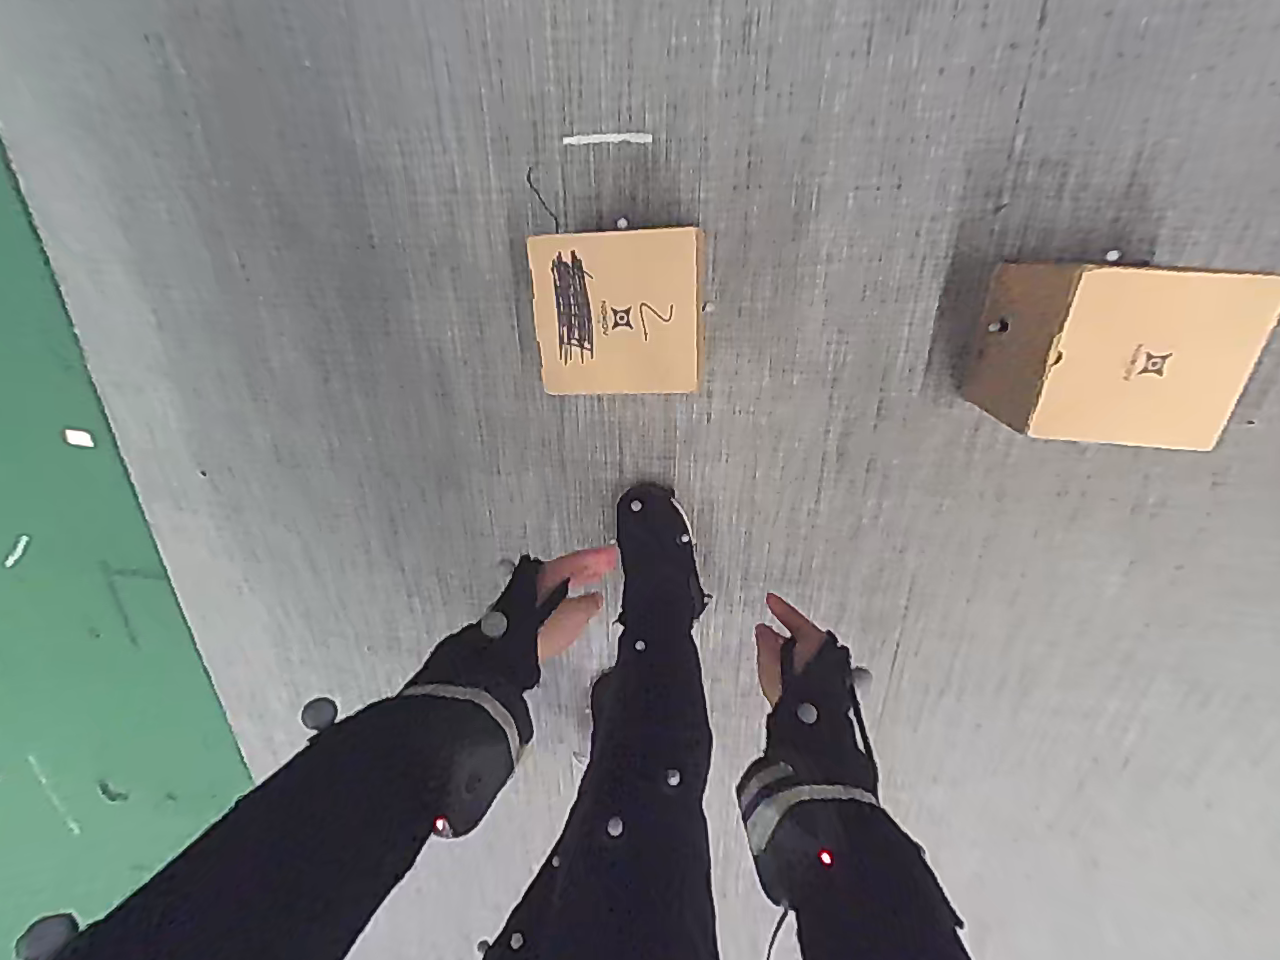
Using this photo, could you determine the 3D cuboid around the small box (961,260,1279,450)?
[{"bbox_3d":[0.488,-0.143,0.582,0.179,0.176,0.168,6,114,7],"label":"small box"}]
